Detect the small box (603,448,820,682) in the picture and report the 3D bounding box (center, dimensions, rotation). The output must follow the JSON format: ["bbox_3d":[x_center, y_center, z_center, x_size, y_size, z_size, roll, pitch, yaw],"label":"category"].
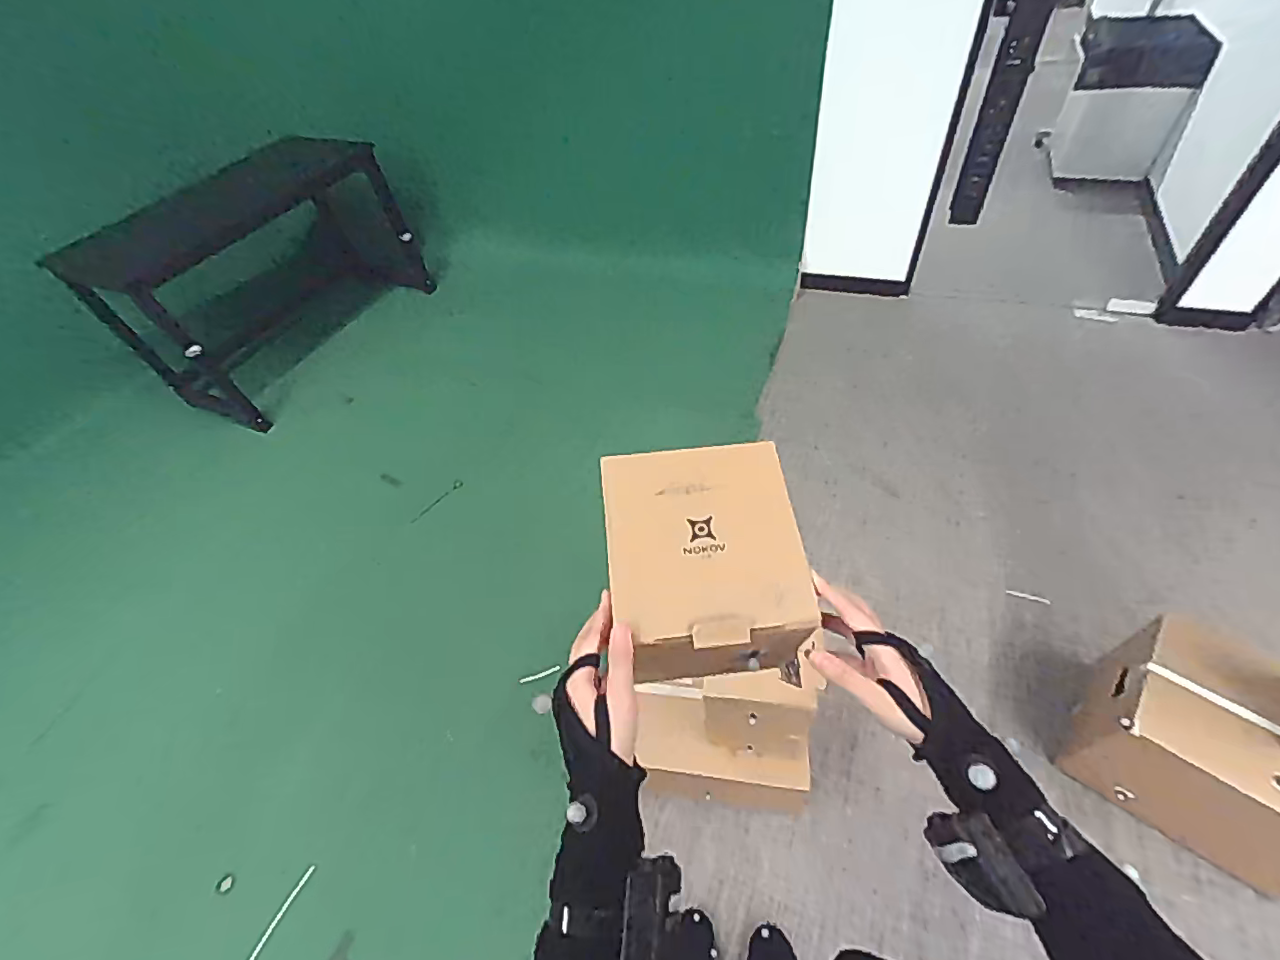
[{"bbox_3d":[0.056,0.091,0.527,0.168,0.176,0.179,-5,59,-2],"label":"small box"}]

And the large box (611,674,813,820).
[{"bbox_3d":[0.179,0.579,1.273,0.408,0.320,0.320,2,50,12],"label":"large box"}]

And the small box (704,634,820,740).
[{"bbox_3d":[0.208,0.336,0.933,0.179,0.176,0.168,2,51,12],"label":"small box"}]

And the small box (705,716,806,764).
[{"bbox_3d":[0.228,0.439,1.059,0.179,0.176,0.168,6,51,14],"label":"small box"}]
